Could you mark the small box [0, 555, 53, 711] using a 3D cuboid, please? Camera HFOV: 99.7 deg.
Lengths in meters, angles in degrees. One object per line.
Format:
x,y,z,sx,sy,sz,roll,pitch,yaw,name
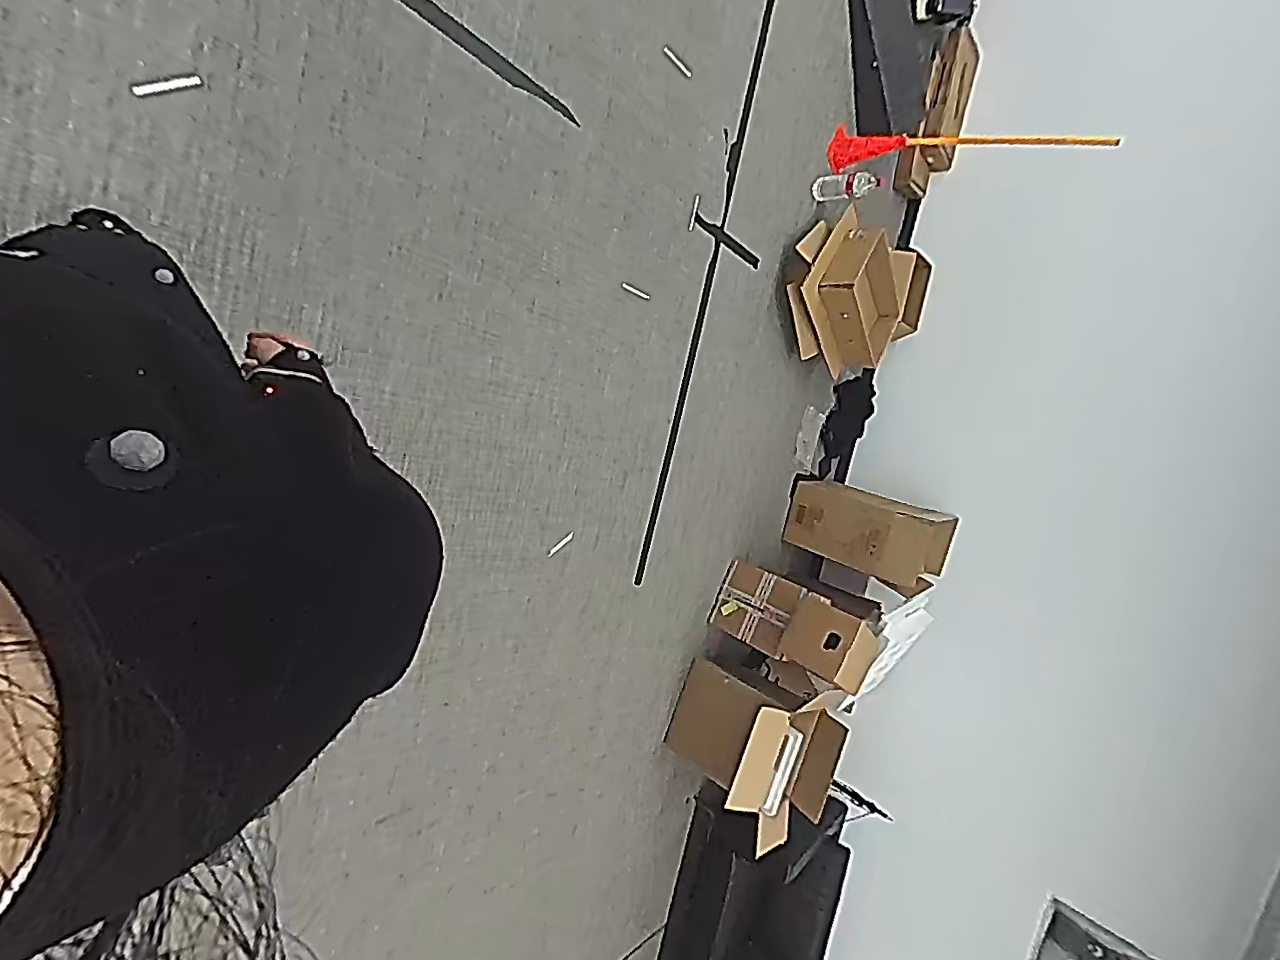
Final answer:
-0.961,0.220,0.769,0.168,0.176,0.179,1,102,-48,small box
